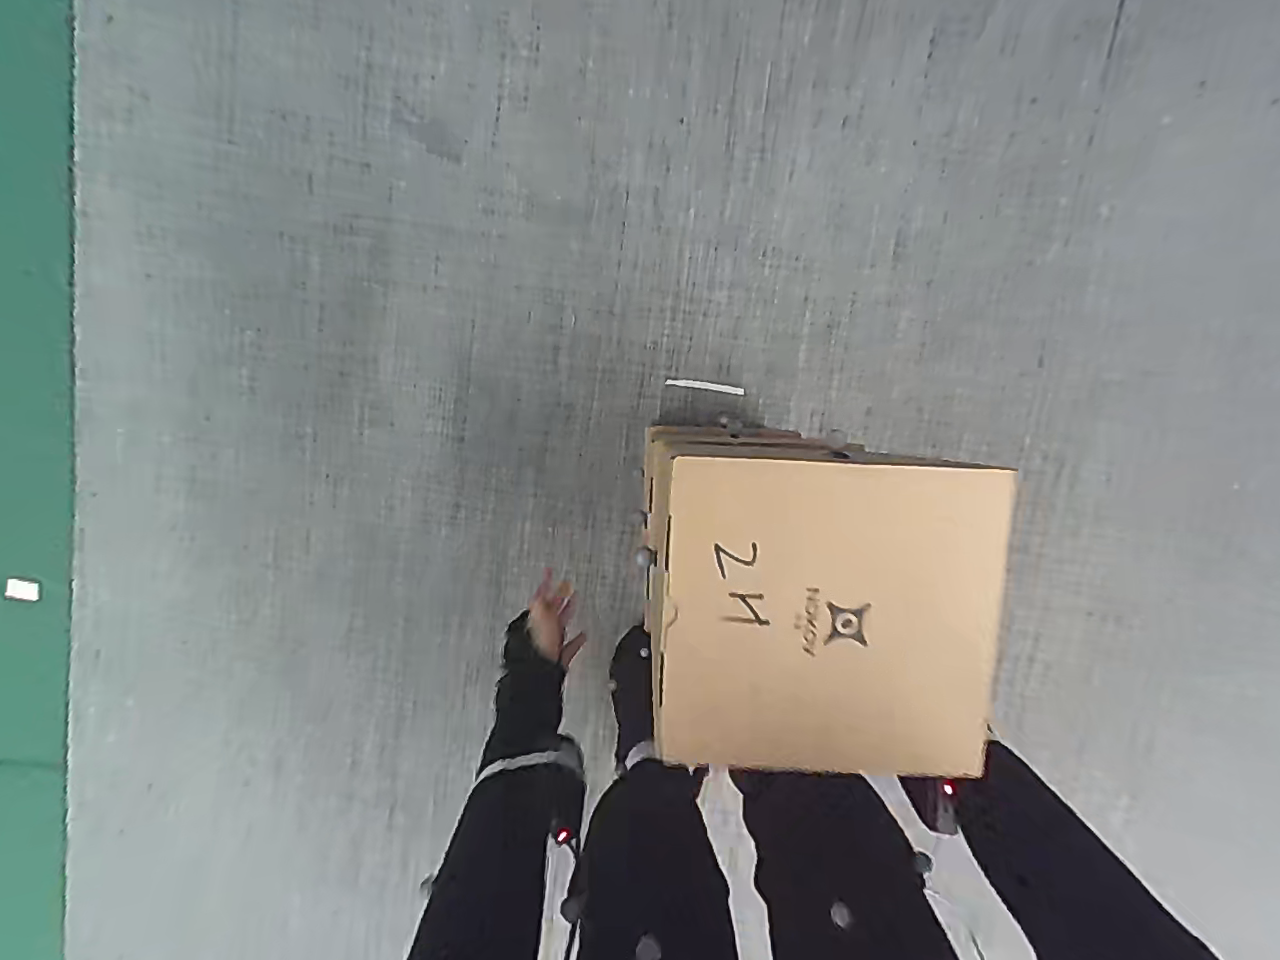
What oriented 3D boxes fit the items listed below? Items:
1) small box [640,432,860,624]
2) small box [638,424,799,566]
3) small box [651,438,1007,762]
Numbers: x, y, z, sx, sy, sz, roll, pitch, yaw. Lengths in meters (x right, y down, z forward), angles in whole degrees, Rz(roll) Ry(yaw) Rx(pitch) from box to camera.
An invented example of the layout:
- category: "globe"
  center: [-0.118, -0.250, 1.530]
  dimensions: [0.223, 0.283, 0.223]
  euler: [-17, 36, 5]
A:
- category: "small box"
  center: [0.094, 0.039, 0.530]
  dimensions: [0.179, 0.176, 0.168]
  euler: [2, 96, 2]
- category: "small box"
  center: [0.090, 0.015, 0.693]
  dimensions: [0.179, 0.176, 0.168]
  euler: [3, 96, 1]
- category: "small box"
  center: [0.100, 0.059, 0.365]
  dimensions: [0.179, 0.176, 0.168]
  euler: [3, 95, 1]
